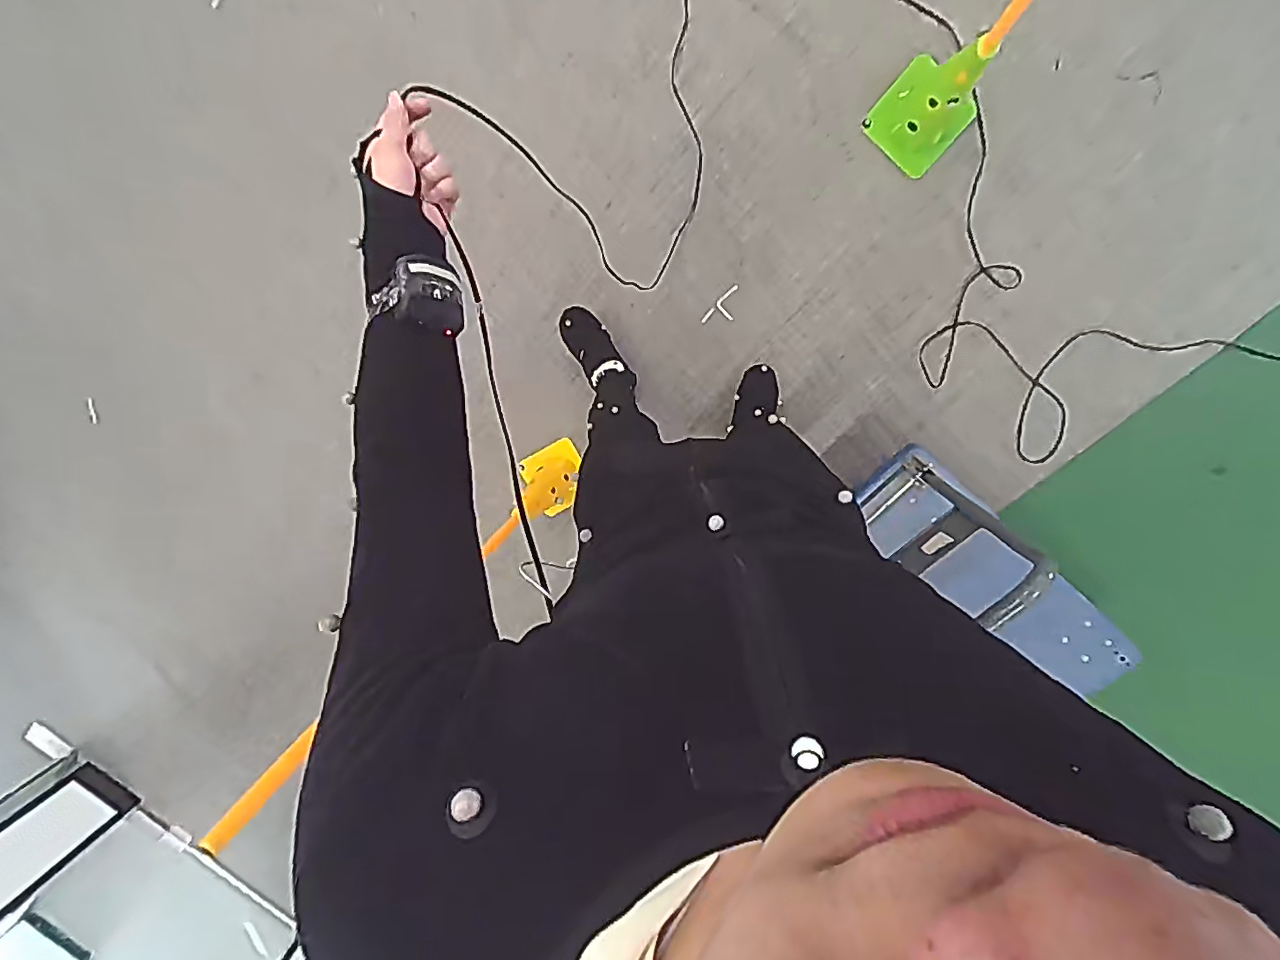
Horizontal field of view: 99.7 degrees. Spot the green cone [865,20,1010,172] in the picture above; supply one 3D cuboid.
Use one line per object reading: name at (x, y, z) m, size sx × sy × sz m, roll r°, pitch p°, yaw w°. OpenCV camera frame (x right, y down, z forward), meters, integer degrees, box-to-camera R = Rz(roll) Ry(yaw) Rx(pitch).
green cone at (0.652, -0.832, 1.126) m, size 0.200 × 0.368 × 0.202 m, roll 40°, pitch 106°, yaw -5°
